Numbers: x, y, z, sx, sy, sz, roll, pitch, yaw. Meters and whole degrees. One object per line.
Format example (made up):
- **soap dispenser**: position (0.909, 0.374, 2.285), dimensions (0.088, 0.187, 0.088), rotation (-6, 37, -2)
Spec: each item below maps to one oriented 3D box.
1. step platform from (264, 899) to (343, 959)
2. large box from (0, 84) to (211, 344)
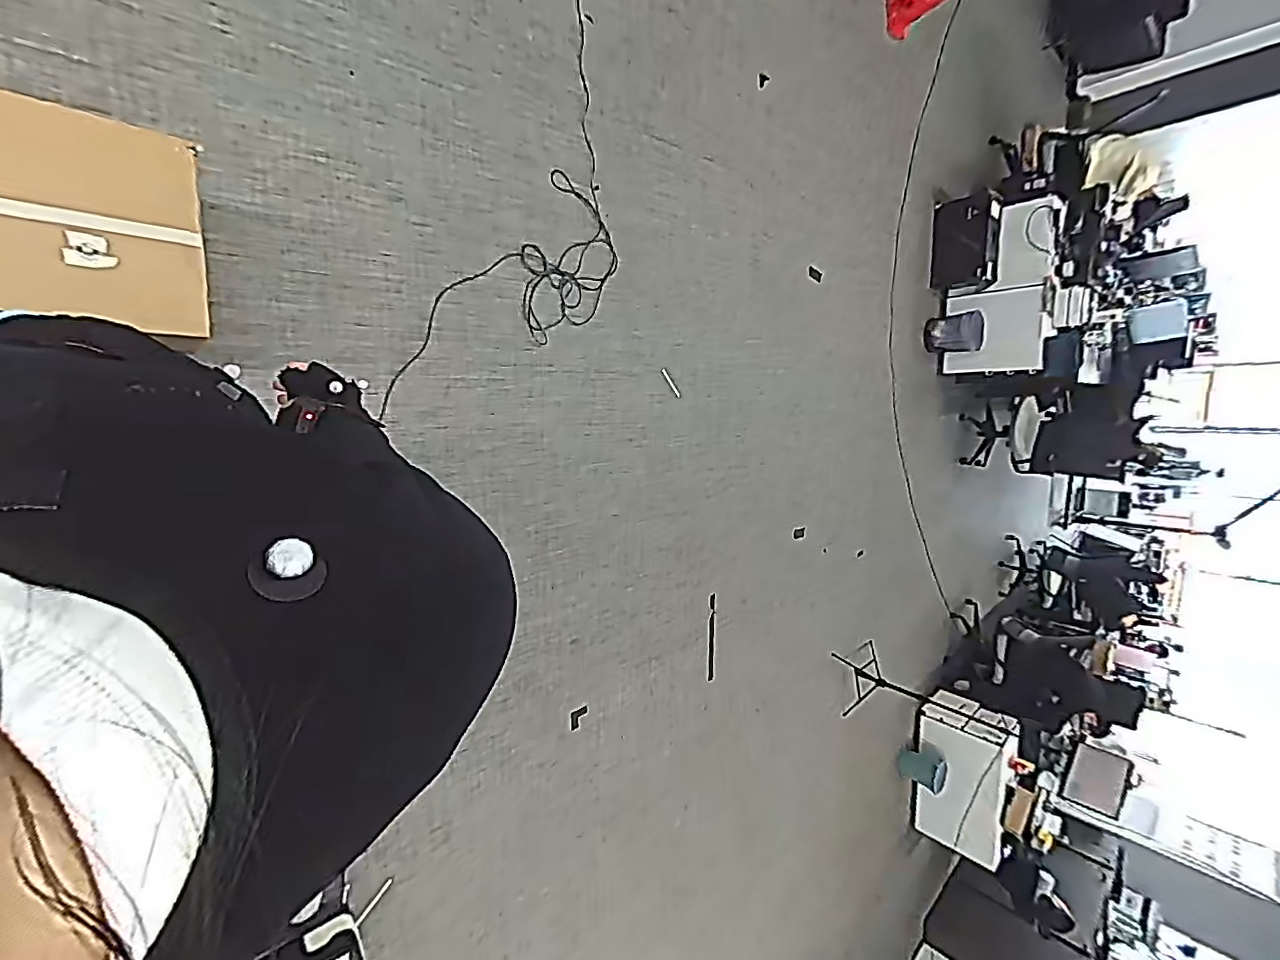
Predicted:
- **step platform**: position (-1.008, 1.260, 1.147), dimensions (0.684, 0.204, 0.286), rotation (-10, 102, -40)
- **large box**: position (-0.974, -0.405, 0.872), dimensions (0.408, 0.320, 0.320), rotation (-5, 100, -43)
